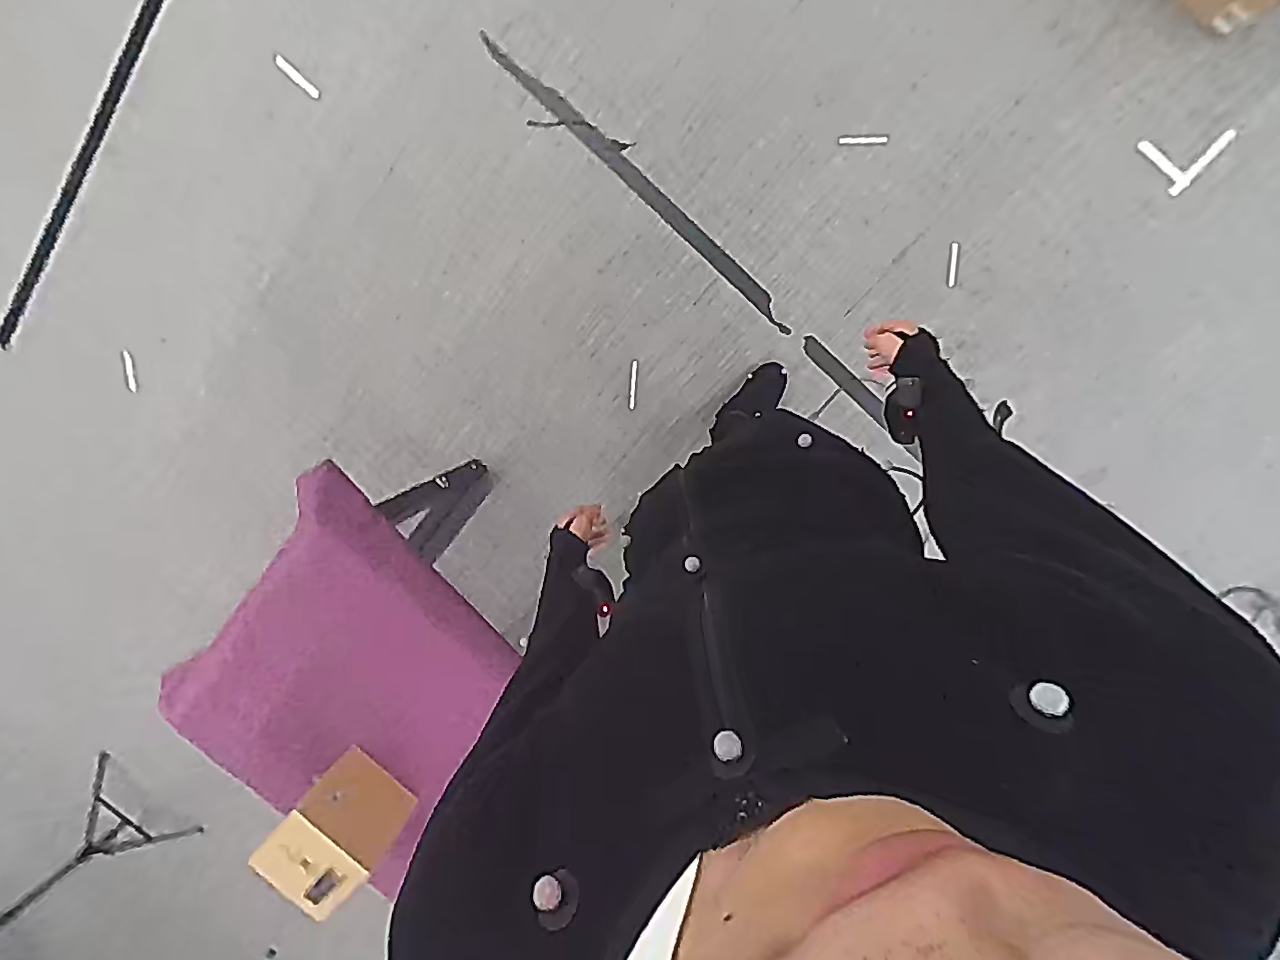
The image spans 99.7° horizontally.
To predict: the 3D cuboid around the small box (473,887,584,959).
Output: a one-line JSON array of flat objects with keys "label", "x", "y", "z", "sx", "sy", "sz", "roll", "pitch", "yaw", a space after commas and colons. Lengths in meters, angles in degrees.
[{"label": "small box", "x": -0.226, "y": 0.956, "z": 1.057, "sx": 0.168, "sy": 0.176, "sz": 0.179, "roll": 41, "pitch": 104, "yaw": -2}]
